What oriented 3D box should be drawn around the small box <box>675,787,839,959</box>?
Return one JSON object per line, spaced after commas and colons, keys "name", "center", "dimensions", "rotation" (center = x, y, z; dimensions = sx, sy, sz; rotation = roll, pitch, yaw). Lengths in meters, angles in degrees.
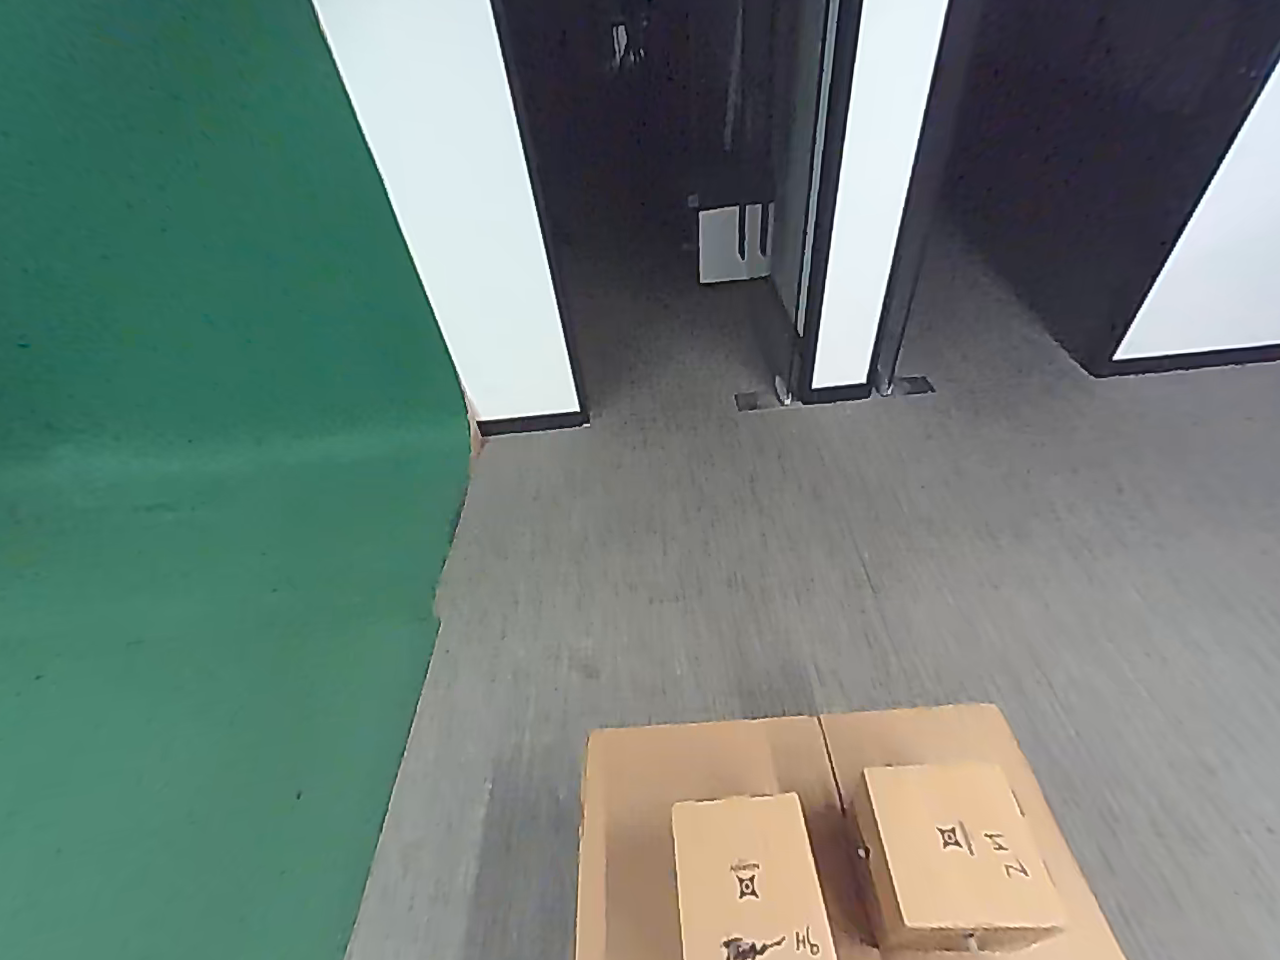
{"name": "small box", "center": [0.137, 0.521, 0.688], "dimensions": [0.168, 0.176, 0.179], "rotation": [-8, 41, 3]}
